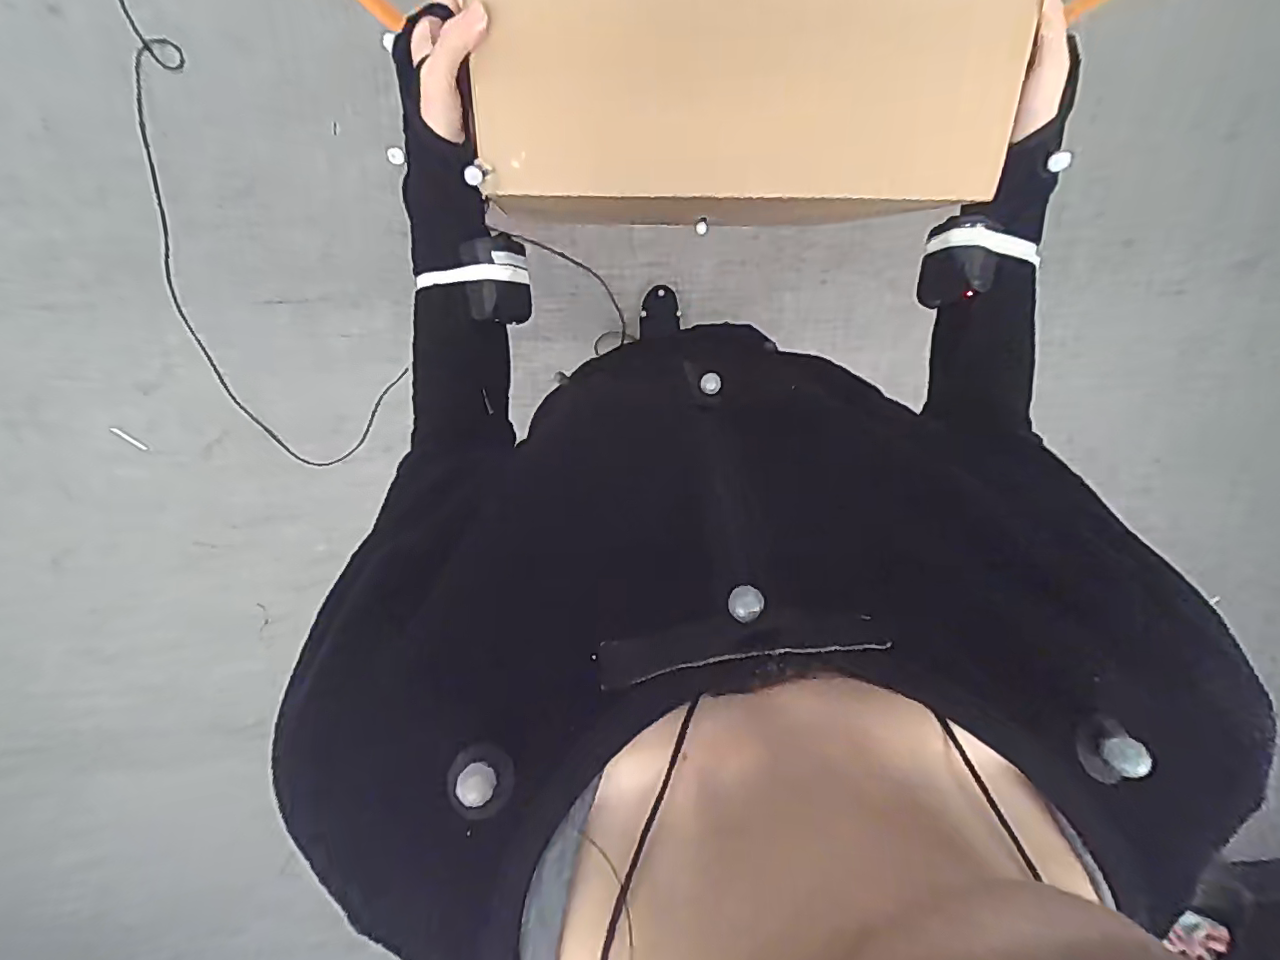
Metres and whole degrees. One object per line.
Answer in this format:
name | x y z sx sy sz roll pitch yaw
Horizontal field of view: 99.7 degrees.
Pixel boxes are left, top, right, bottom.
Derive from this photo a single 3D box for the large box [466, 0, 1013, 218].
large box | 0.063 -0.423 0.503 0.408 0.320 0.320 -3 112 -7
